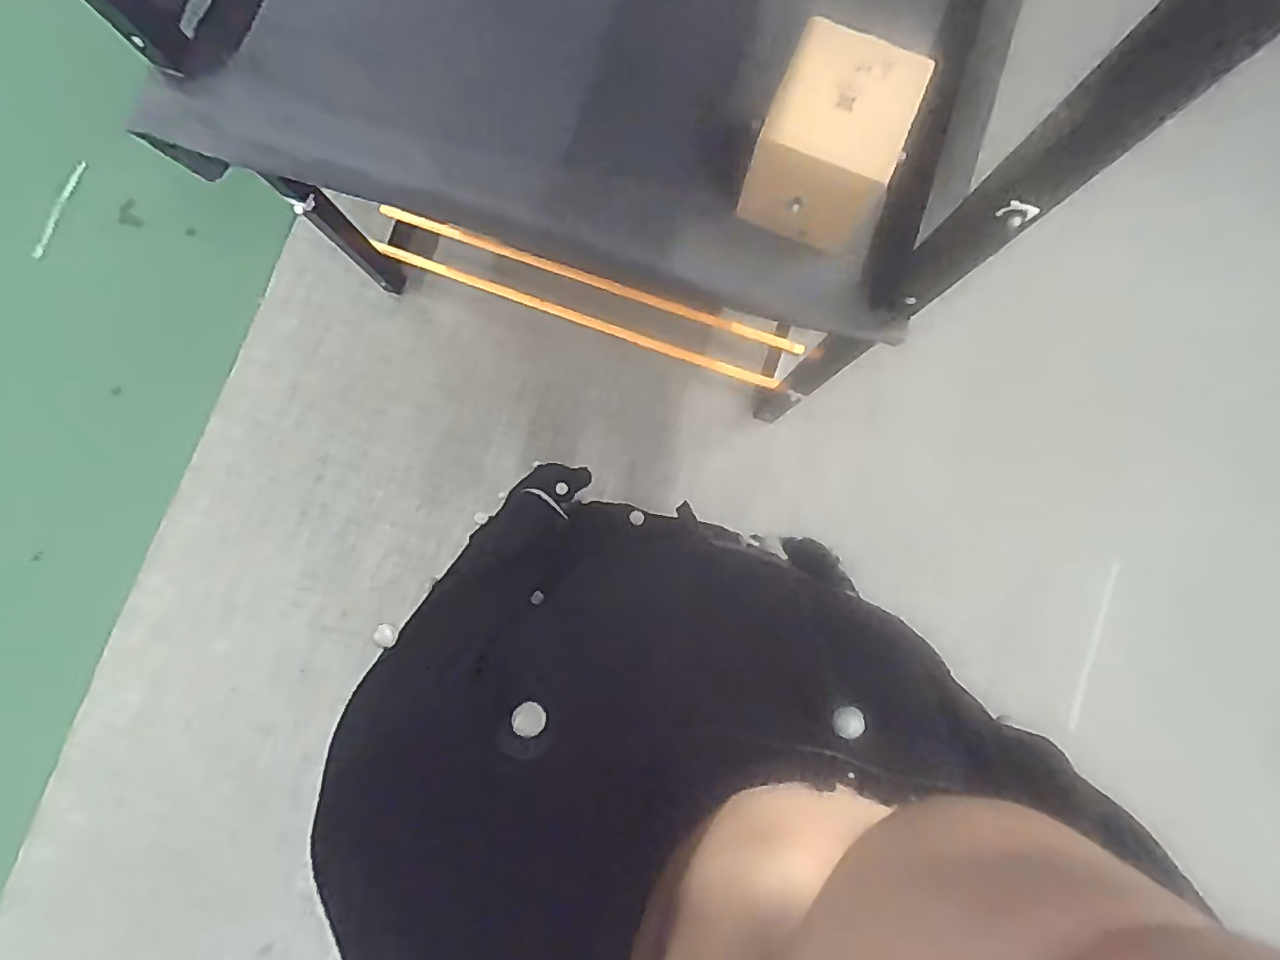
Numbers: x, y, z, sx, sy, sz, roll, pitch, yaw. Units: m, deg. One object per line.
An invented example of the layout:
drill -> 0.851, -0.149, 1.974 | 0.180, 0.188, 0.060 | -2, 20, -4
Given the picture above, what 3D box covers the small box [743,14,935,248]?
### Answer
small box -> 0.251, -0.451, 0.729 | 0.168, 0.176, 0.179 | 23, 85, 1
